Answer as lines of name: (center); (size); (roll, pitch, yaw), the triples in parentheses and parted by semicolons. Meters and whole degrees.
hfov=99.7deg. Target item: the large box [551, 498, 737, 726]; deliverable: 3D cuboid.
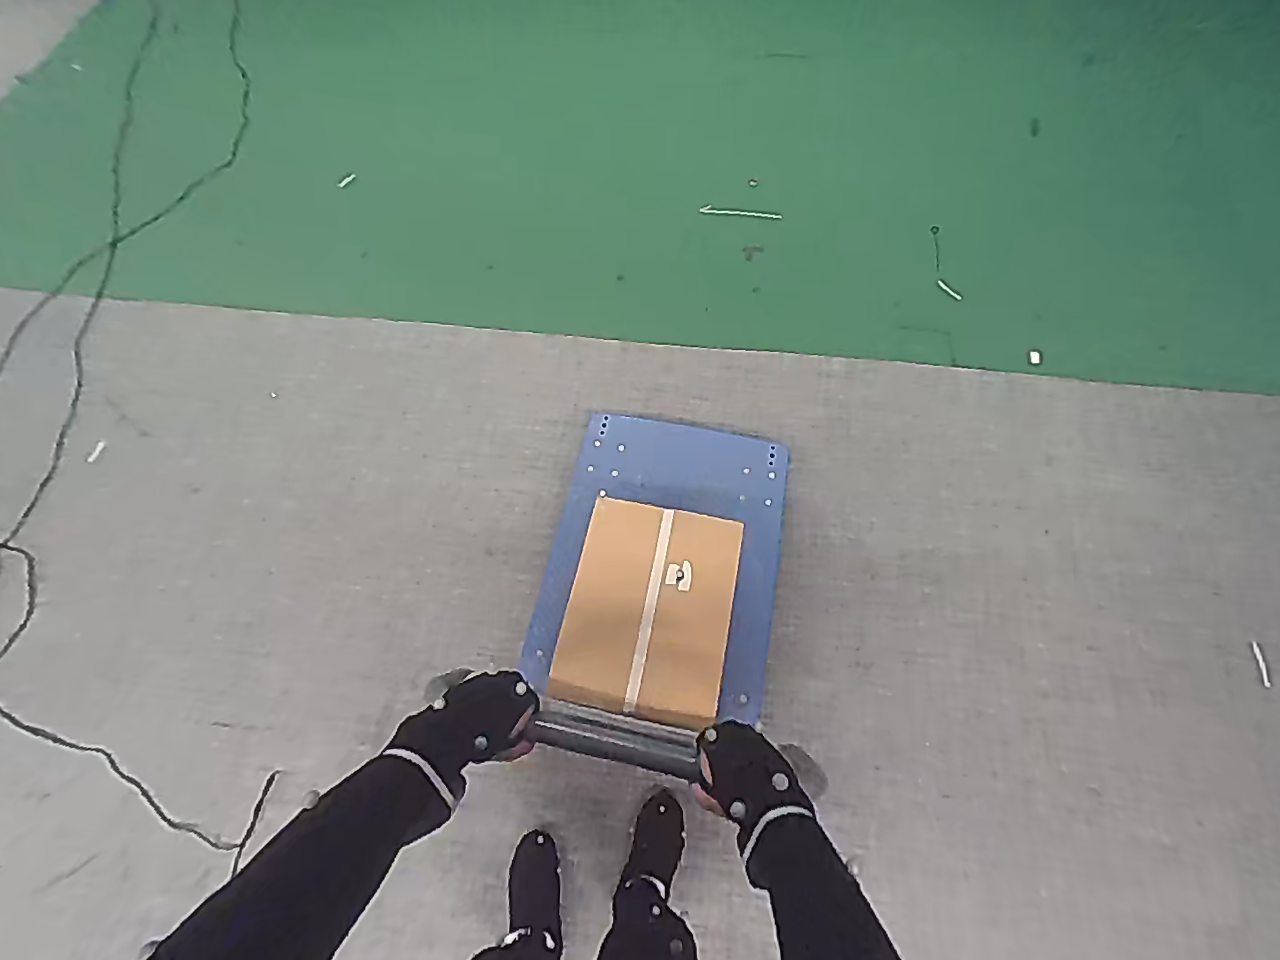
large box: (0.022, 0.304, 1.201); (0.320, 0.320, 0.408); (11, 65, 5)
